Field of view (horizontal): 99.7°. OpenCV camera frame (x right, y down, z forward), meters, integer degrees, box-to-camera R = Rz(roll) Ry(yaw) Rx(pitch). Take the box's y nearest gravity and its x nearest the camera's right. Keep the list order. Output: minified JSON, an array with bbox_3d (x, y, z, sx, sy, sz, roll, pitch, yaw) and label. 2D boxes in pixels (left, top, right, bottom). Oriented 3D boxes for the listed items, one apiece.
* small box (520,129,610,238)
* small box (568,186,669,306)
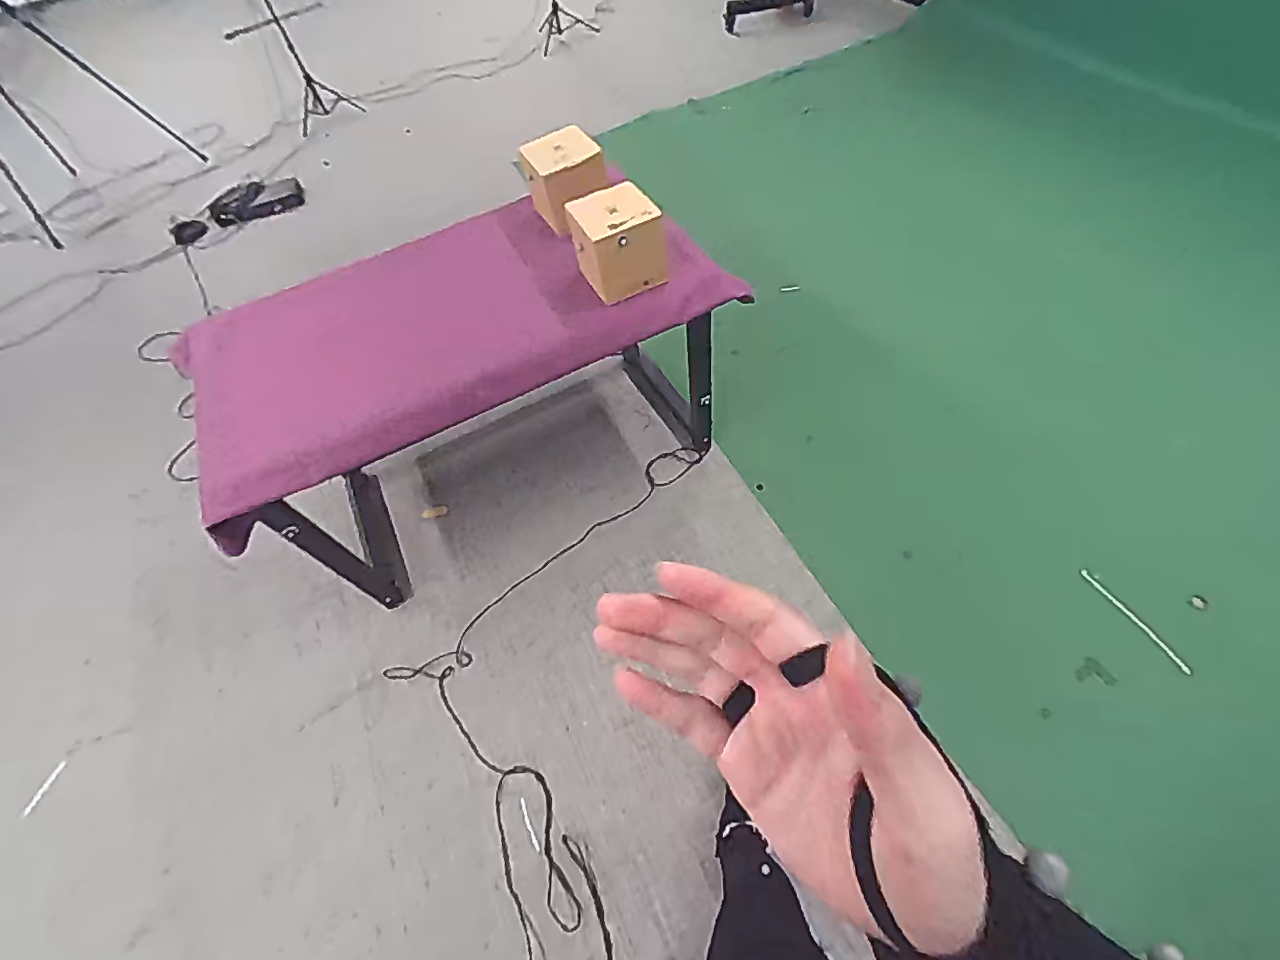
[{"bbox_3d":[-0.187,-0.768,1.408,0.168,0.176,0.179,-28,59,-8],"label":"small box"},{"bbox_3d":[-0.047,-0.535,1.241,0.168,0.176,0.179,-25,56,-8],"label":"small box"}]
